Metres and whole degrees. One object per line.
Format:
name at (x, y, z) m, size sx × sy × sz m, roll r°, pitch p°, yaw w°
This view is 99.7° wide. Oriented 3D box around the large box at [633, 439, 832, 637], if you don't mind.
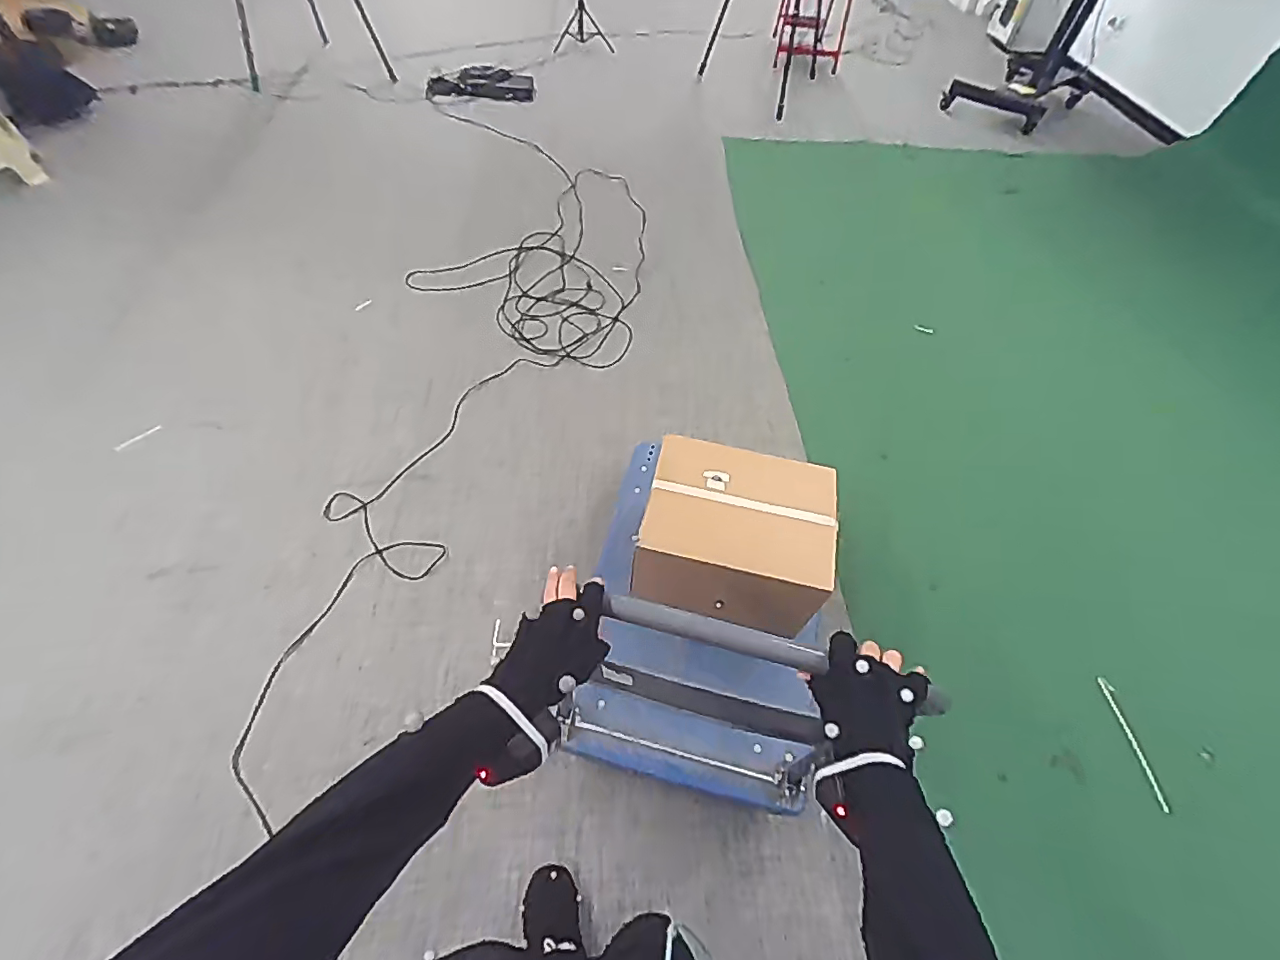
large box at (0.213, 0.147, 1.301) m, size 0.408 × 0.320 × 0.320 m, roll 12°, pitch 55°, yaw 5°
